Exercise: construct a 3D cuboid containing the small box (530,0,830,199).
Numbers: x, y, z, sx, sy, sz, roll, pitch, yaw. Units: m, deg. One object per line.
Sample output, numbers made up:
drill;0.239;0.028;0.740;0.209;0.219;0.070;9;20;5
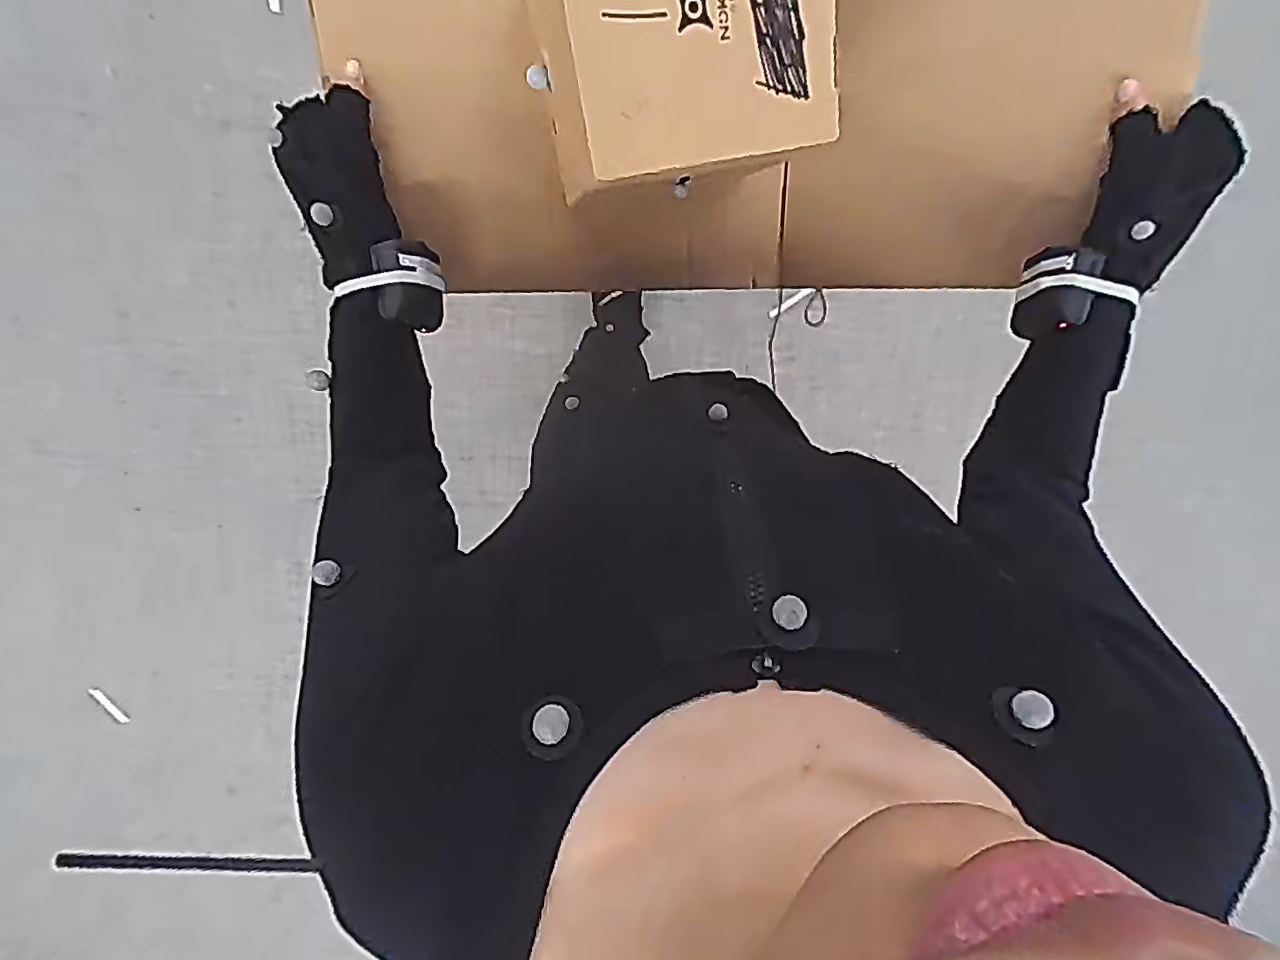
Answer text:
small box;0.022;-0.325;0.412;0.179;0.176;0.168;-14;113;-8
